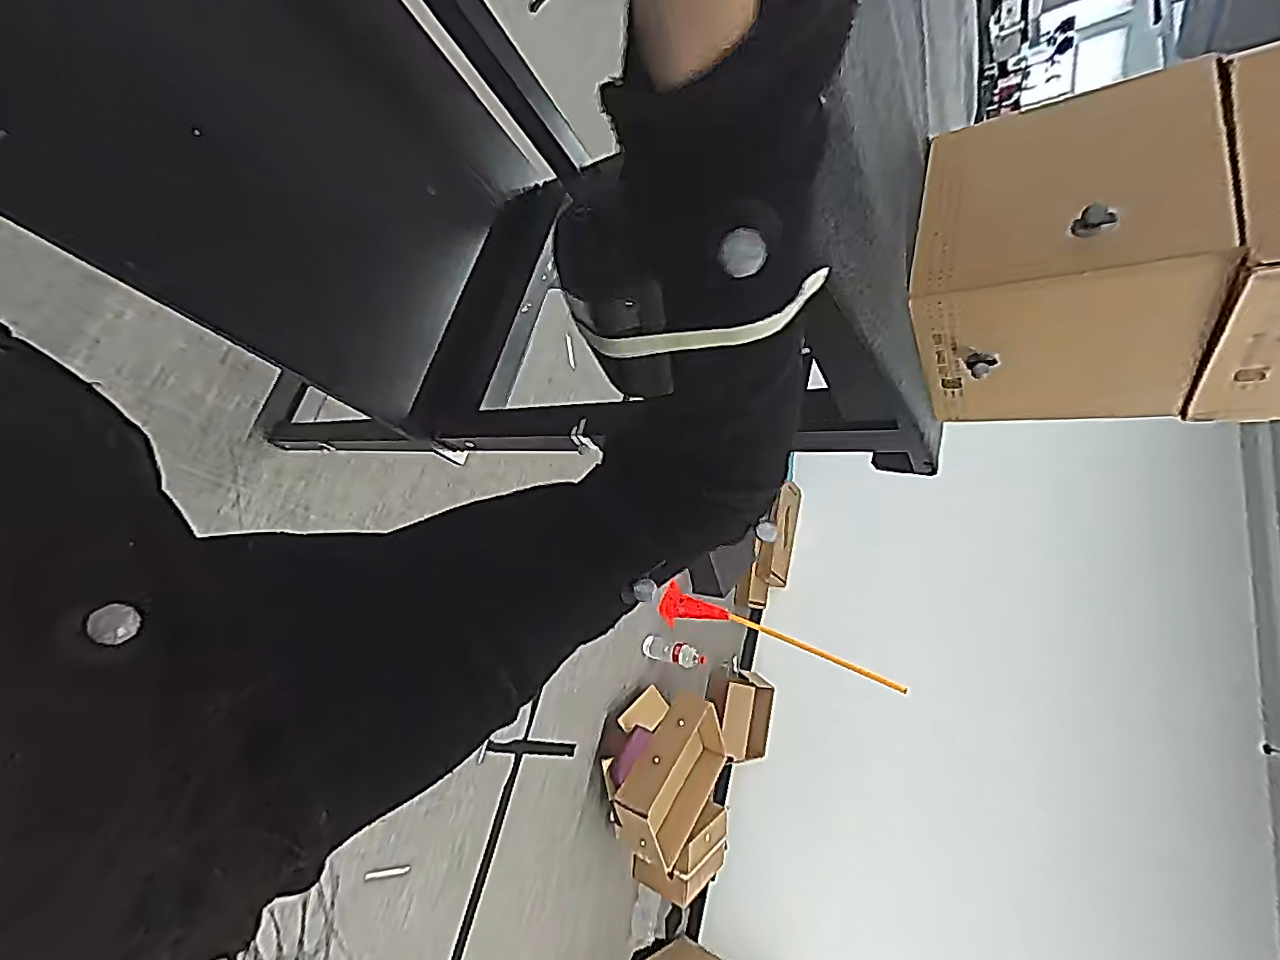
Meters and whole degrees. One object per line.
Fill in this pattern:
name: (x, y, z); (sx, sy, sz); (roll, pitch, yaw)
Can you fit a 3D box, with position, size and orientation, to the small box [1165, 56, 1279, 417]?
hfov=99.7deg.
small box: (0.453, -0.153, 0.331); (0.168, 0.176, 0.179); (38, 63, -48)
